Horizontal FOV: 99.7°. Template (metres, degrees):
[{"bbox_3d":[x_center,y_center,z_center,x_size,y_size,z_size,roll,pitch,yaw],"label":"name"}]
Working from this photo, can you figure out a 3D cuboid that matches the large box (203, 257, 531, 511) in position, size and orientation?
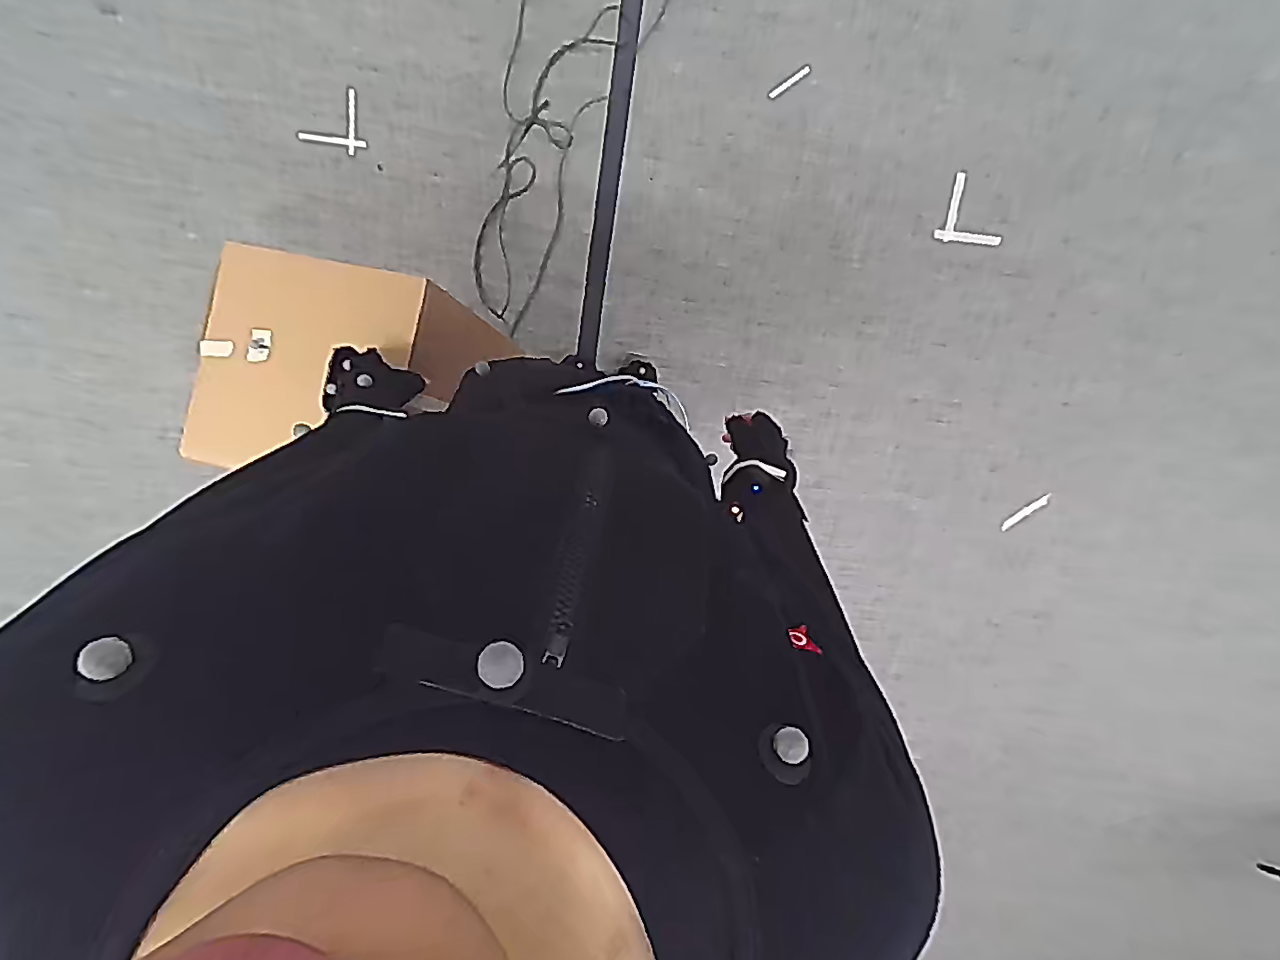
[{"bbox_3d":[-0.429,-0.141,0.942,0.320,0.408,0.320,15,91,7],"label":"large box"}]
